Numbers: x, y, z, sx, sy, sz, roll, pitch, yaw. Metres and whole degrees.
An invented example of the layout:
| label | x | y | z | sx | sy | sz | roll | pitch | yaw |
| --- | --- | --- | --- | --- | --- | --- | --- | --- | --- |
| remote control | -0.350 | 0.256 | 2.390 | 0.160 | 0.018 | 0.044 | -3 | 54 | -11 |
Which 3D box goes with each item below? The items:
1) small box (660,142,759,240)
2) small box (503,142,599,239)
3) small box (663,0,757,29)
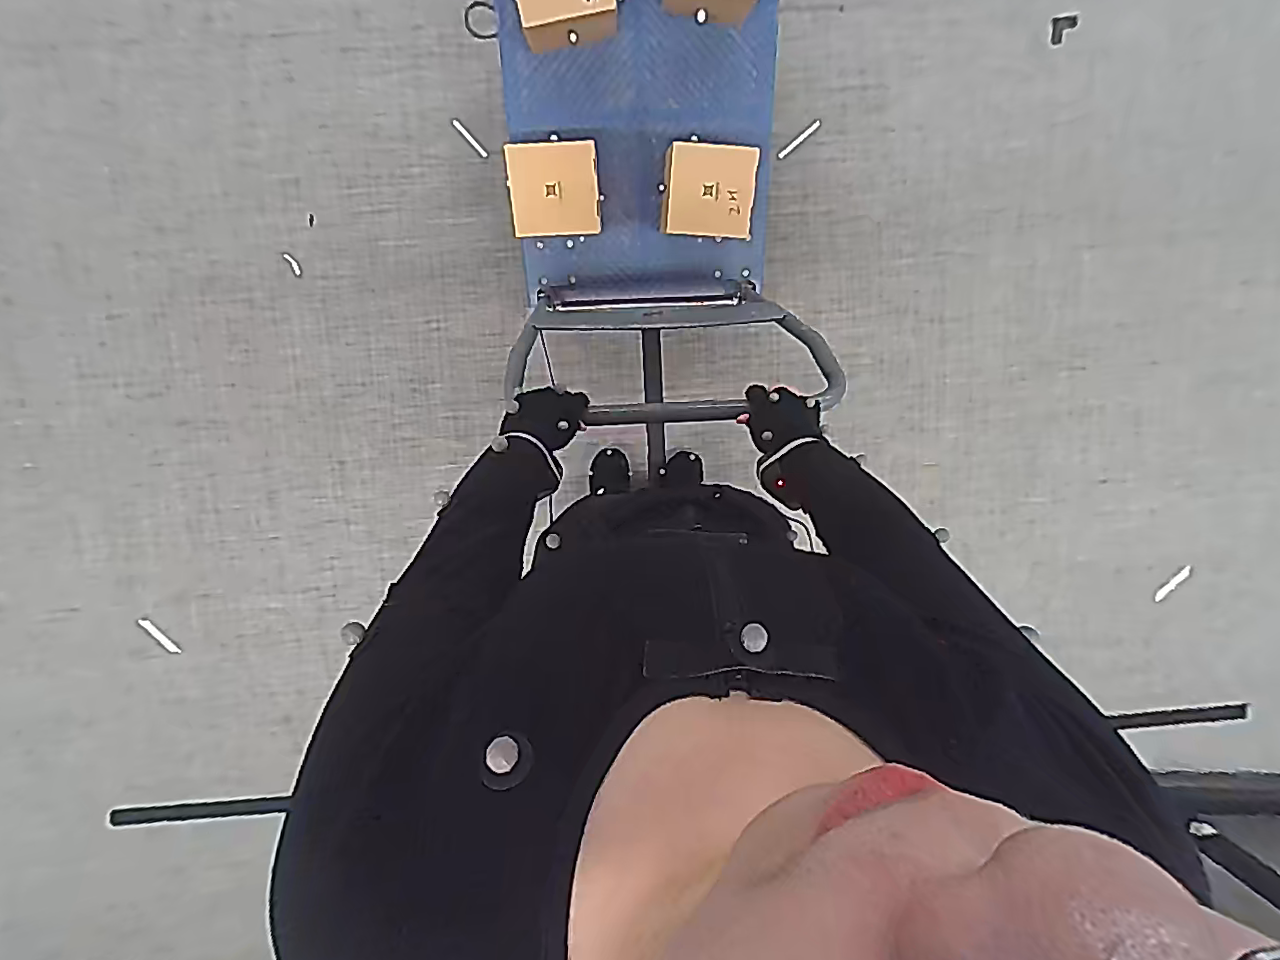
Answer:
| label | x | y | z | sx | sy | sz | roll | pitch | yaw |
| --- | --- | --- | --- | --- | --- | --- | --- | --- | --- |
| small box | 0.138 | -0.611 | 1.161 | 0.179 | 0.176 | 0.168 | 2 | 115 | -4 |
| small box | -0.179 | -0.606 | 1.146 | 0.179 | 0.176 | 0.168 | -5 | 115 | -3 |
| small box | 0.140 | -0.979 | 0.994 | 0.168 | 0.176 | 0.179 | 7 | 115 | -7 |
